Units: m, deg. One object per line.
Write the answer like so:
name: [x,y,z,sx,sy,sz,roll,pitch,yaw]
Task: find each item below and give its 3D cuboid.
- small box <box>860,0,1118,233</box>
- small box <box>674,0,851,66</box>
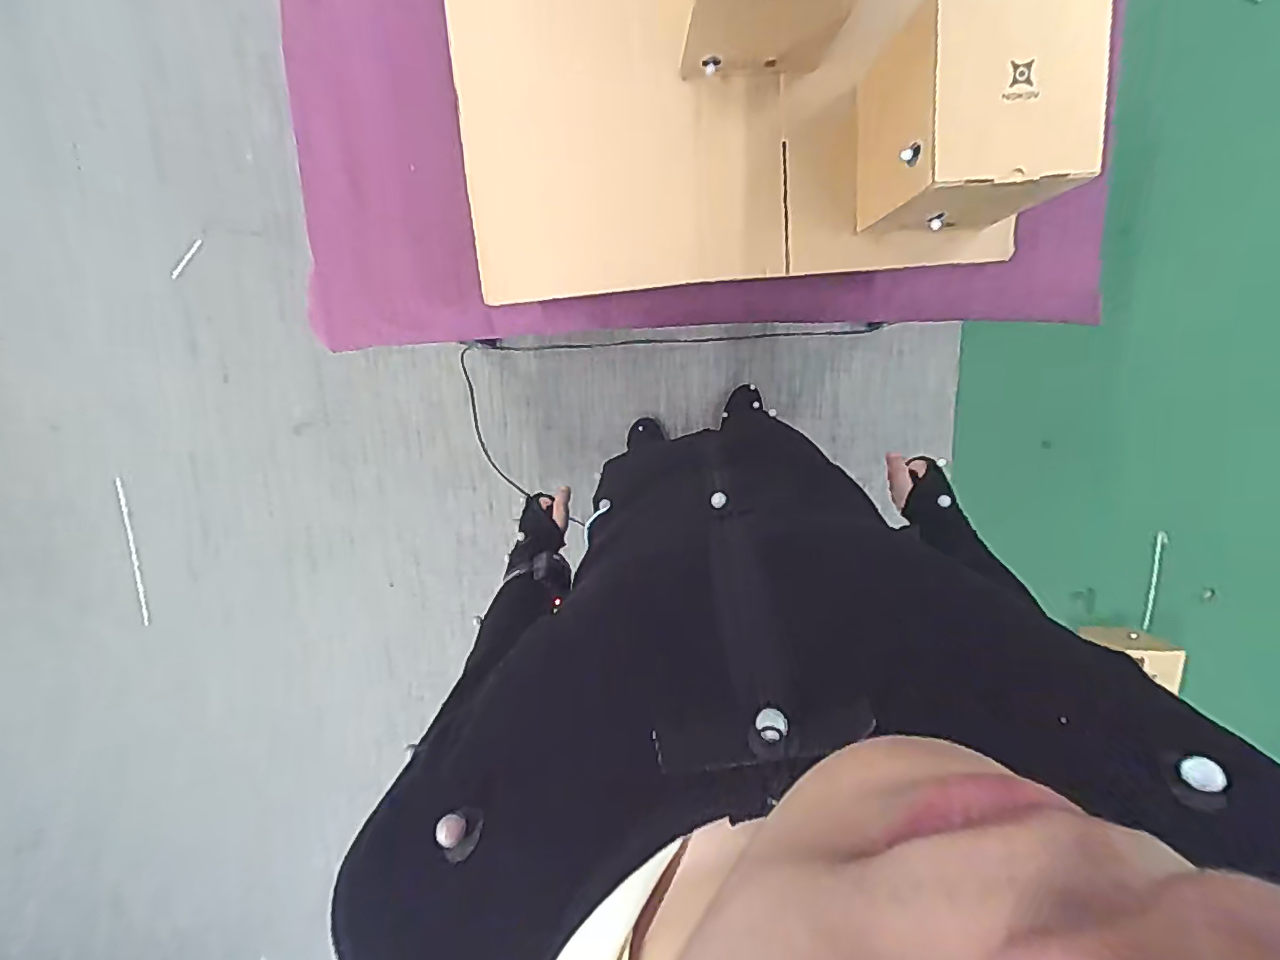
small box: [0.348,-0.381,0.573,0.168,0.176,0.179,-5,101,-2]
small box: [0.125,-0.544,0.533,0.168,0.176,0.179,-5,99,-2]
